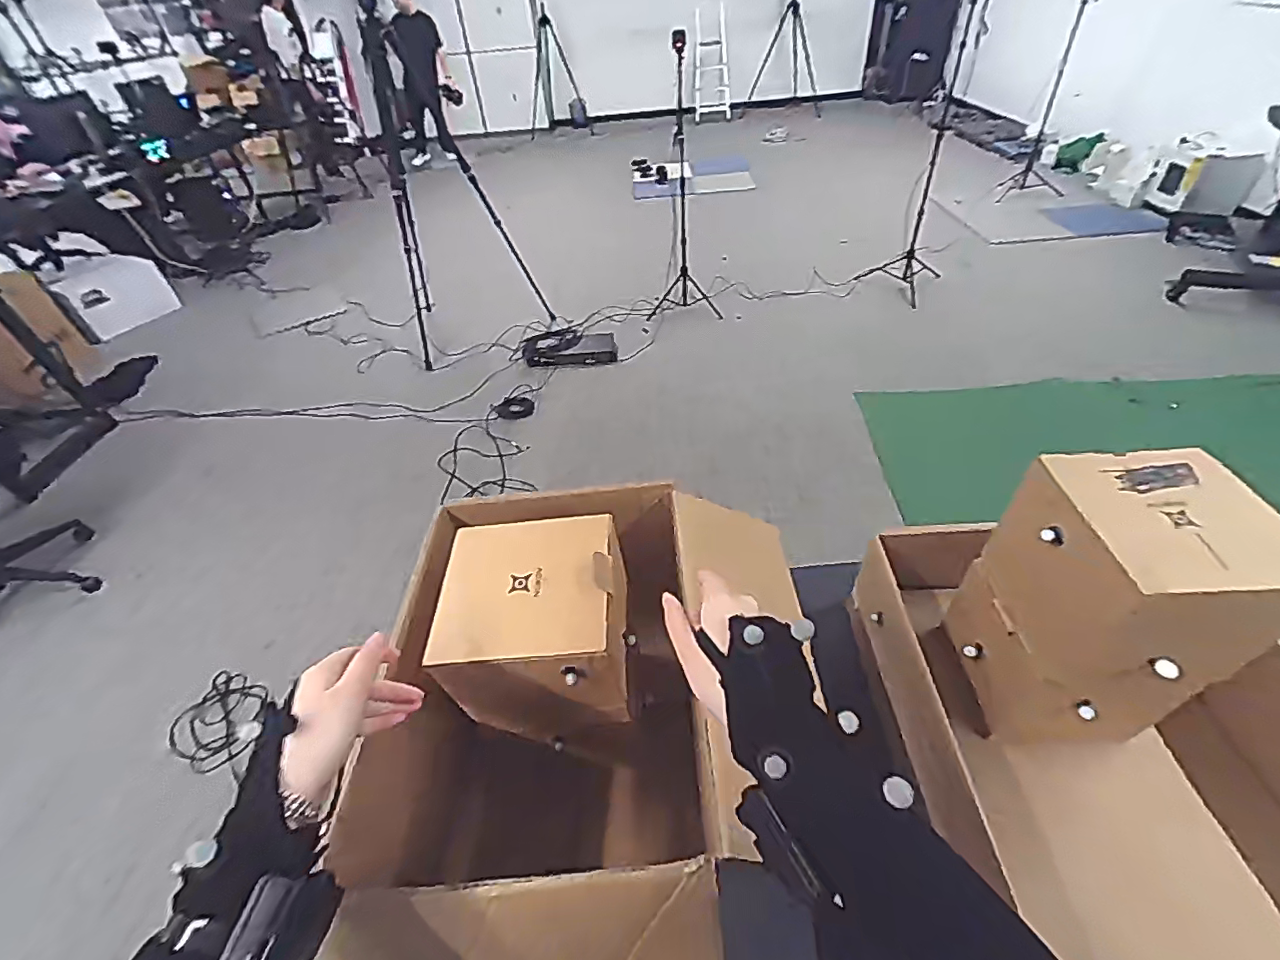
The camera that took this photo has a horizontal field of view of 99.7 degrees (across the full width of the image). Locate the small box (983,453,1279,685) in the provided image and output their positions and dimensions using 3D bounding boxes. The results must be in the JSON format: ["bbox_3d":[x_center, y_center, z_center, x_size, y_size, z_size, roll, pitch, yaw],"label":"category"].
[{"bbox_3d":[0.499,0.093,0.564,0.168,0.176,0.179,-3,44,4],"label":"small box"}]
